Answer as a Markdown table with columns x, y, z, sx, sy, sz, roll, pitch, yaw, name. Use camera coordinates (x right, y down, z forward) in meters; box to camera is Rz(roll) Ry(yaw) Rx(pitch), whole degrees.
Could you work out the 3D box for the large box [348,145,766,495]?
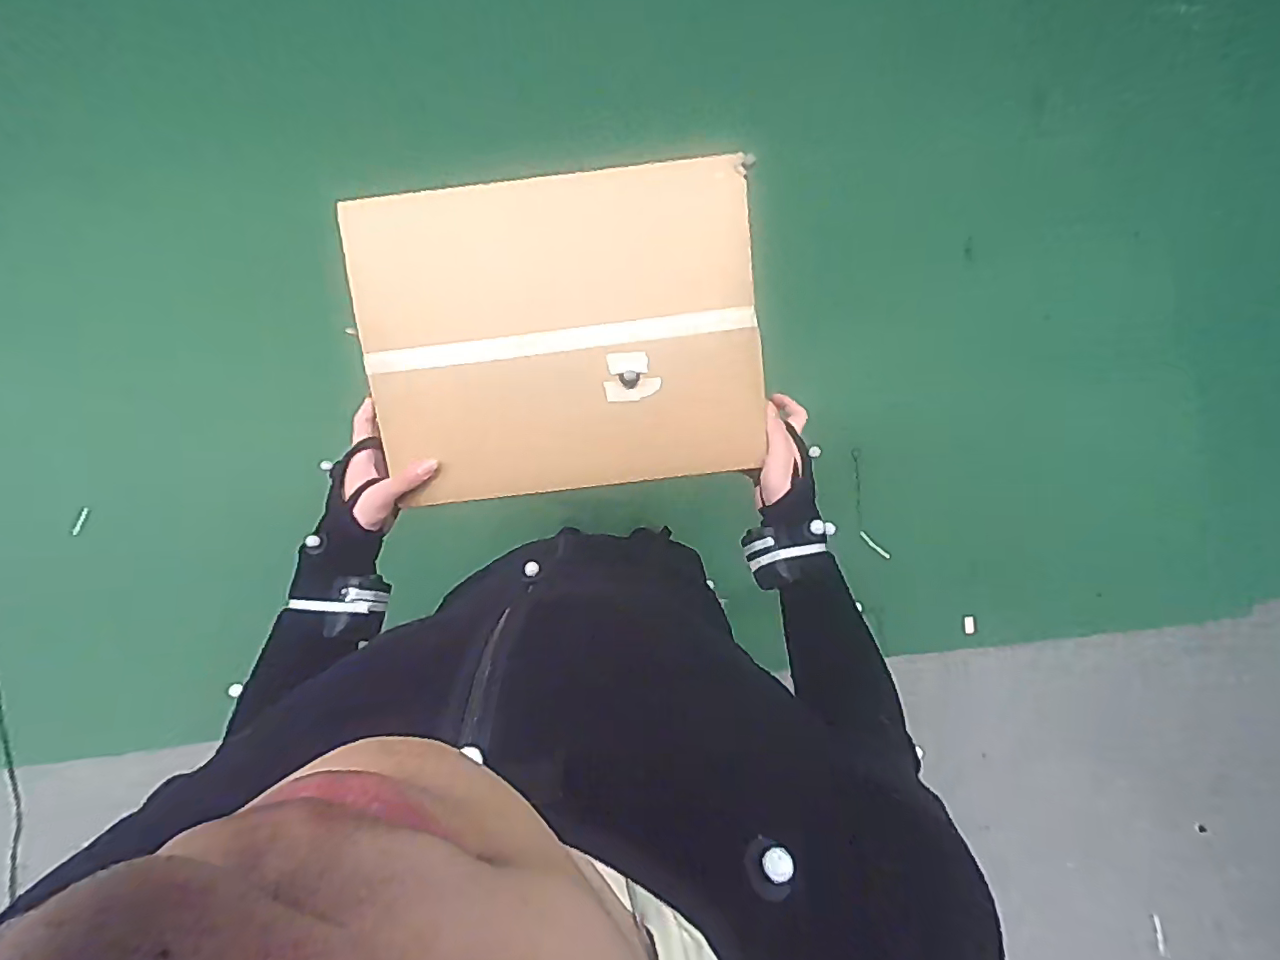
| x | y | z | sx | sy | sz | roll | pitch | yaw | name |
| --- | --- | --- | --- | --- | --- | --- | --- | --- | --- |
| -0.082 | -0.182 | 0.708 | 0.408 | 0.320 | 0.320 | -7 | 101 | 0 | large box |
